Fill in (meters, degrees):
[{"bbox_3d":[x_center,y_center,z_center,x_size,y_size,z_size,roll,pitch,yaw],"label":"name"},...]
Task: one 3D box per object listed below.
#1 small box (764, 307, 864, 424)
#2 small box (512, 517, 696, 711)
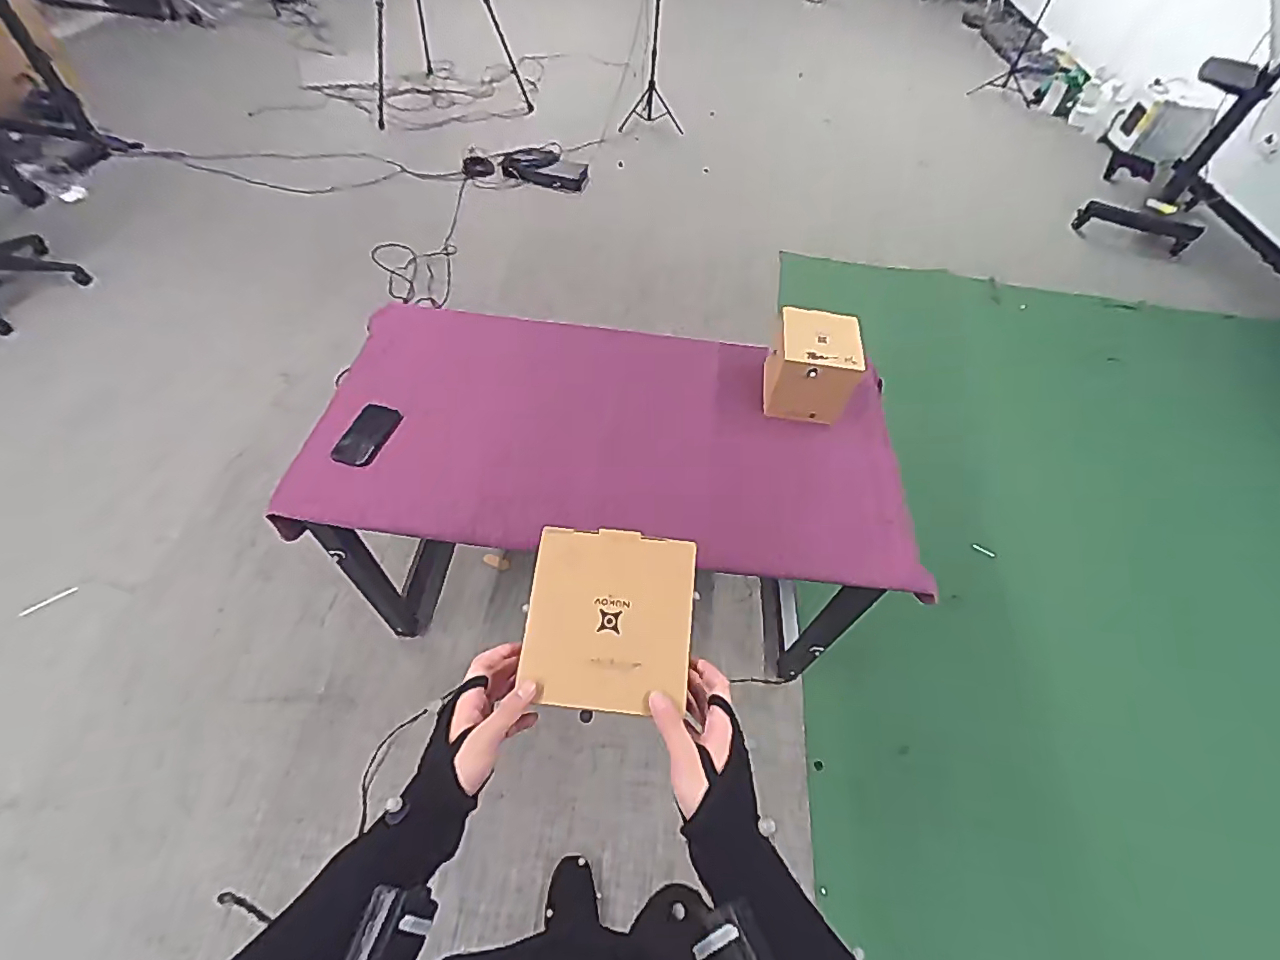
[{"bbox_3d":[0.375,-0.252,1.197,0.168,0.176,0.179,8,54,2],"label":"small box"},{"bbox_3d":[-0.035,0.157,0.613,0.168,0.176,0.179,6,69,1],"label":"small box"}]
